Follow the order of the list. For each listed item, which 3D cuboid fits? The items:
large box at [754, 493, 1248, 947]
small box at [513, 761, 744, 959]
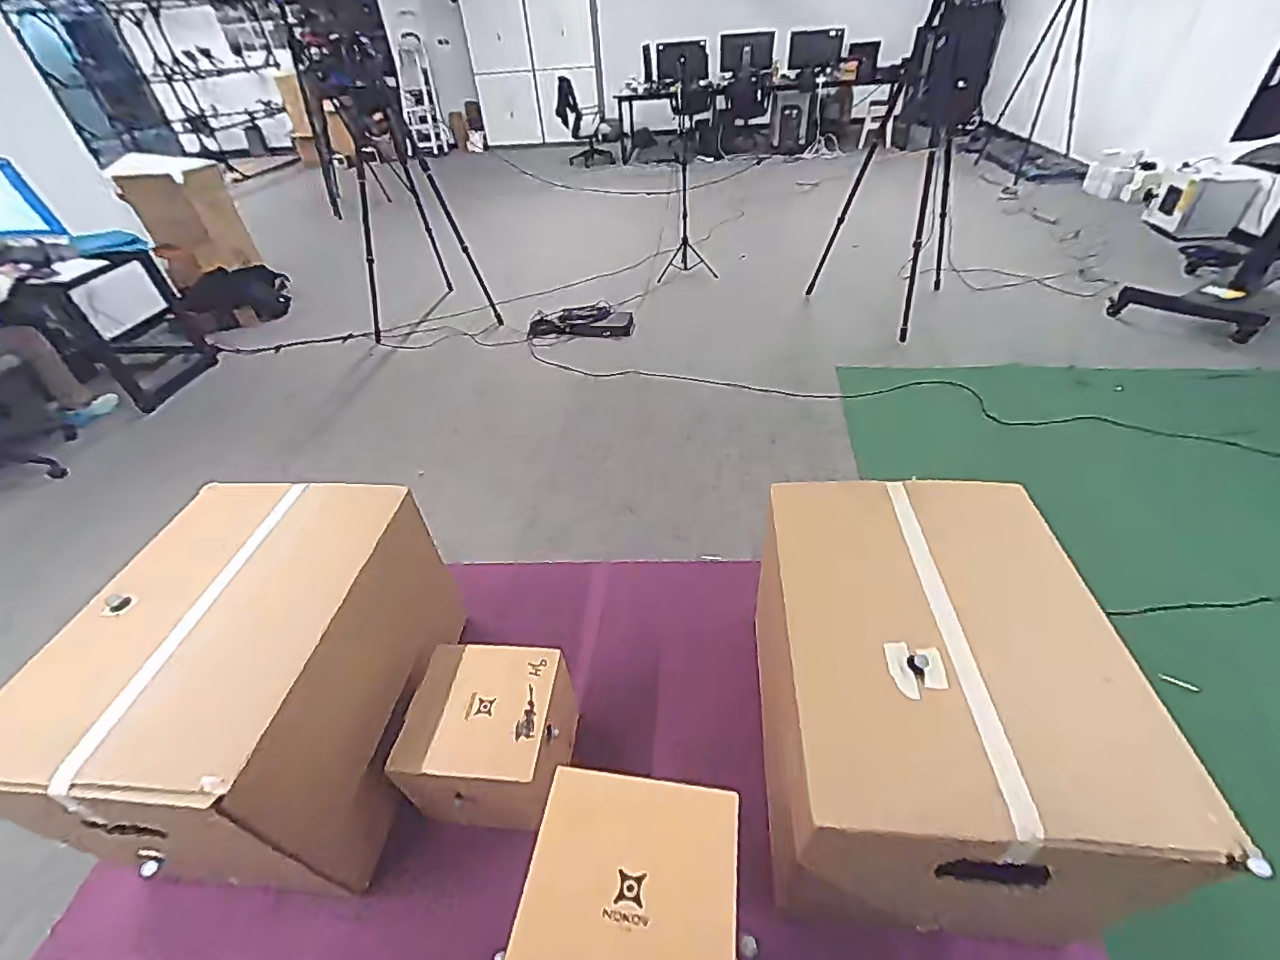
[{"bbox_3d":[0.320,0.265,0.656,0.320,0.320,0.408,1,41,7],"label":"large box"},{"bbox_3d":[-0.002,0.385,0.475,0.168,0.176,0.179,5,38,8],"label":"small box"}]
